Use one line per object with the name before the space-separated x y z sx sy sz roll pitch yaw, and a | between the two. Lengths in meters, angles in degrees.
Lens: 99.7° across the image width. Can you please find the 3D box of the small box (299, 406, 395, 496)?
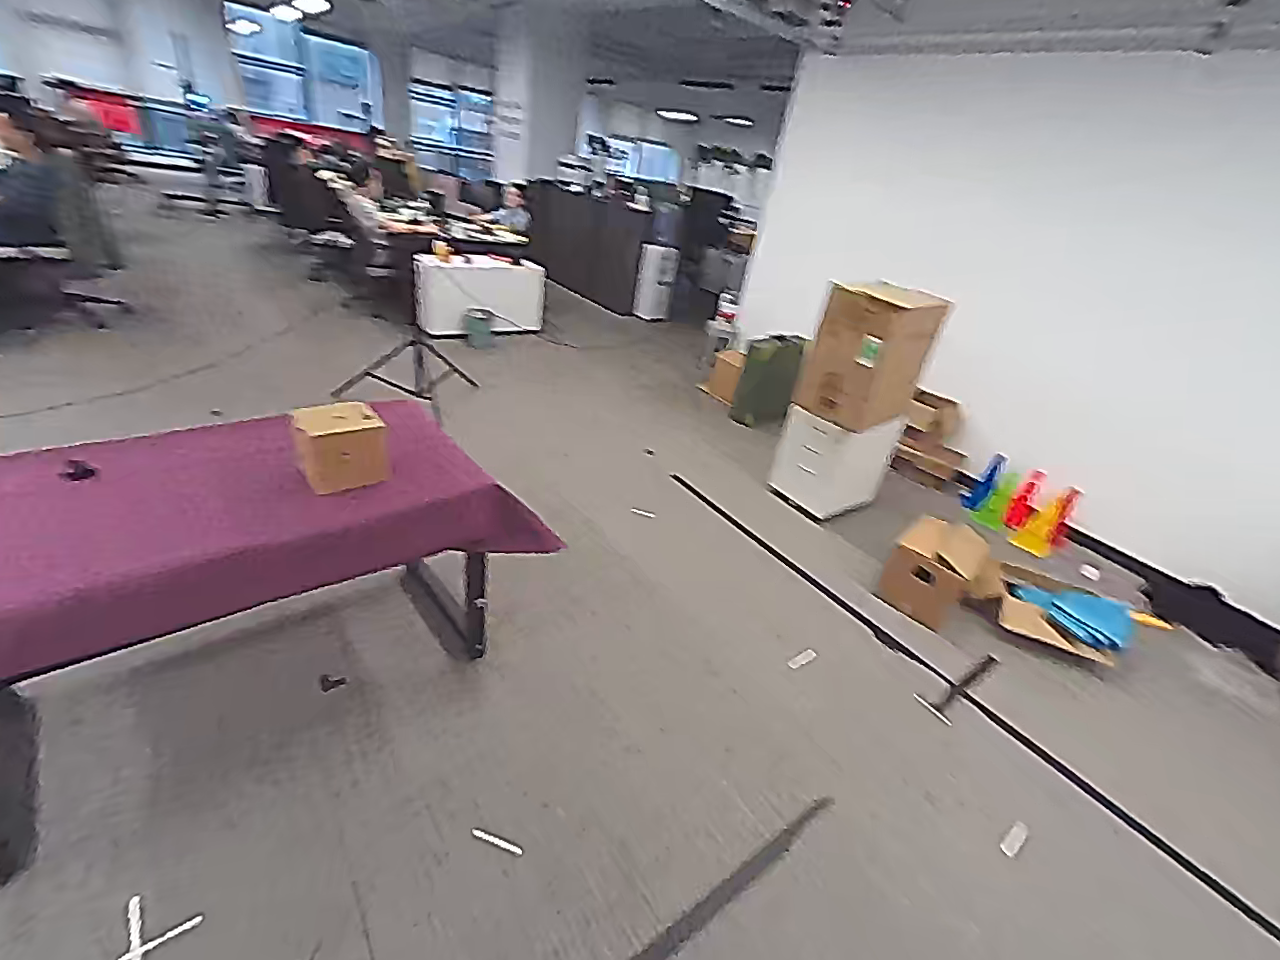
small box | -0.769 -0.077 1.430 0.179 0.176 0.168 -18 40 -38
